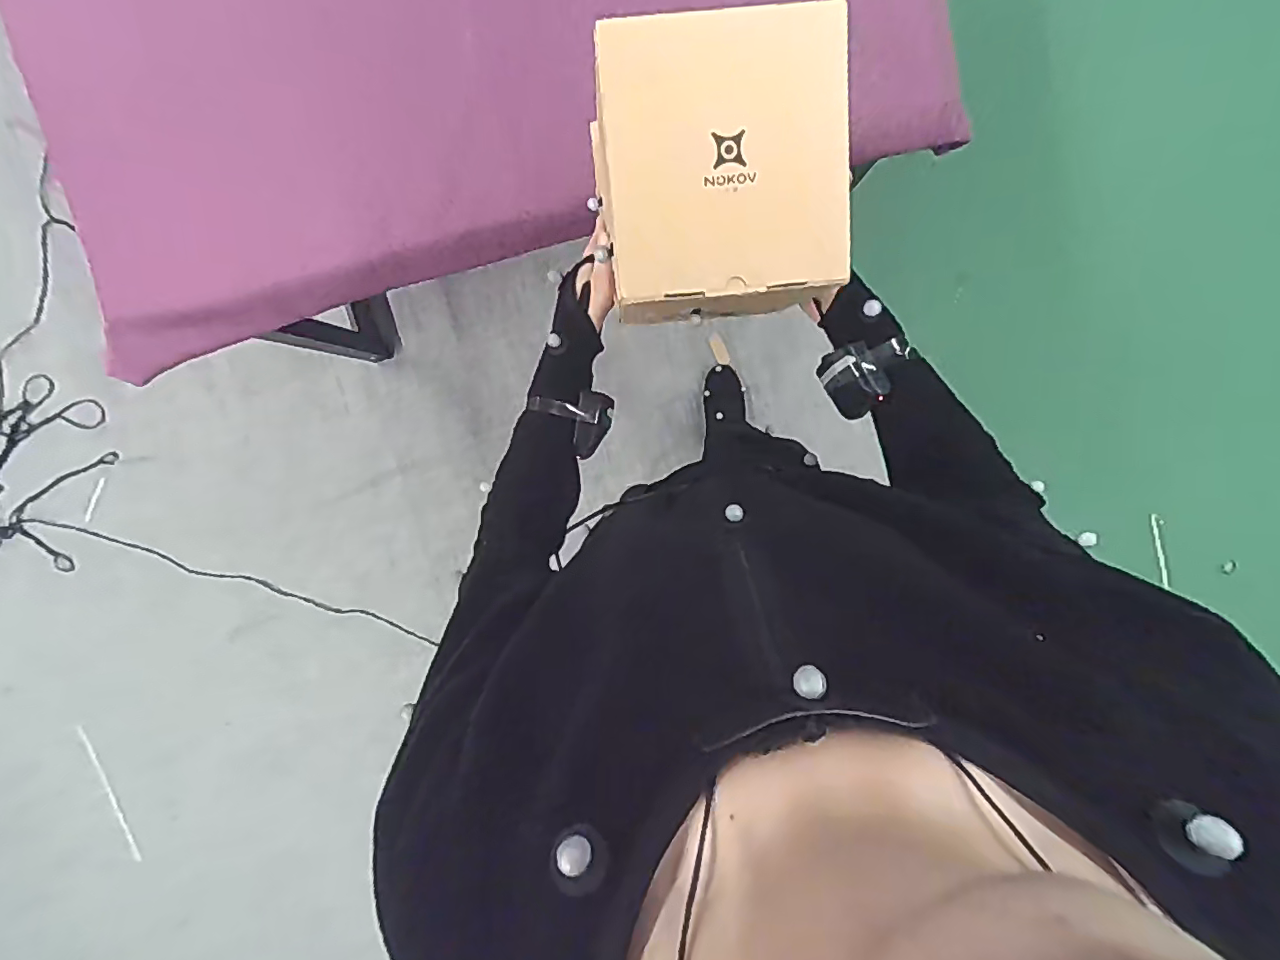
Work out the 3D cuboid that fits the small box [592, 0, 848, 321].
[{"bbox_3d":[0.052,-0.232,0.434,0.168,0.176,0.179,-5,101,-1],"label":"small box"}]
